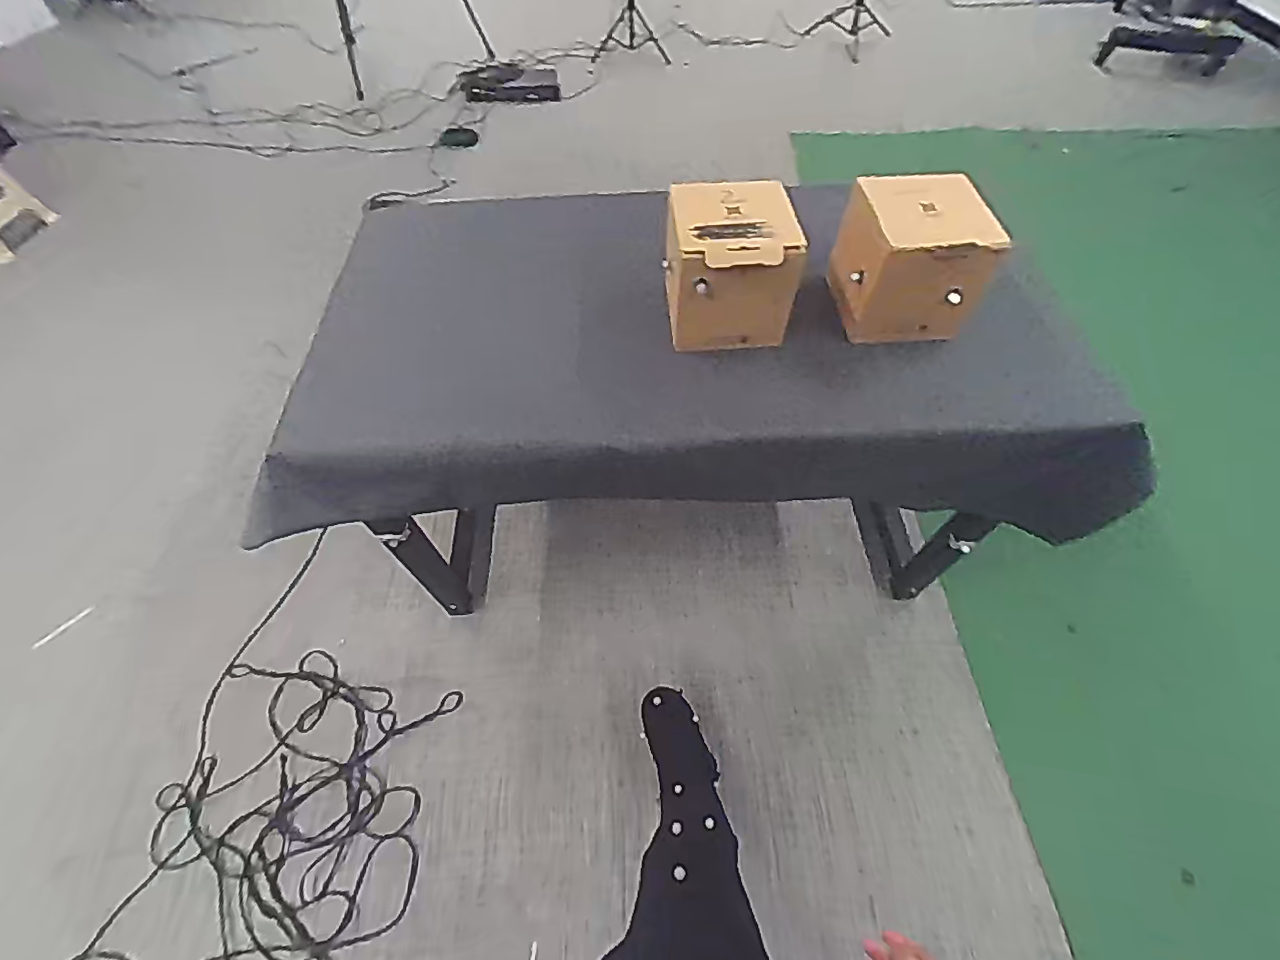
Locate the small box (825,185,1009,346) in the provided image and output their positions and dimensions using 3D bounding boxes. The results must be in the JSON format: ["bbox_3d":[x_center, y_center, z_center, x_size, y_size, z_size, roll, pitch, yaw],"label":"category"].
[{"bbox_3d":[0.400,-0.317,0.818,0.168,0.176,0.179,-2,55,-2],"label":"small box"}]
